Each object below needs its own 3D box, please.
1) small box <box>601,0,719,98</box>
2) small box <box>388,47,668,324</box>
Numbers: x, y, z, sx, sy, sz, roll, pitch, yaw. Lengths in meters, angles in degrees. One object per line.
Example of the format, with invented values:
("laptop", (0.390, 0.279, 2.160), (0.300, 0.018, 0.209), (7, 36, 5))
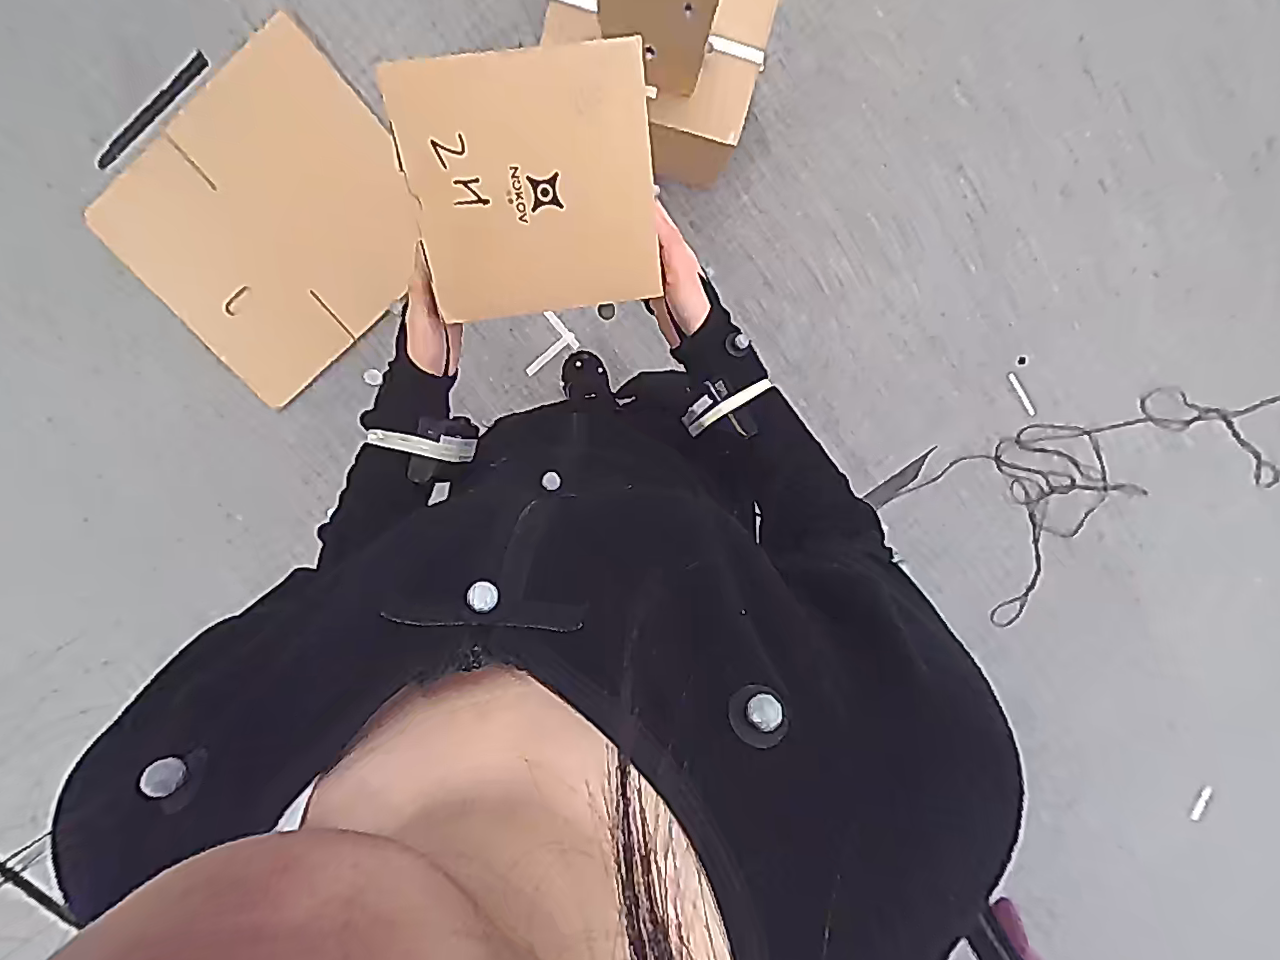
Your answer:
("small box", (0.035, -0.789, 0.919), (0.179, 0.176, 0.168), (11, 103, -6))
("small box", (-0.079, -0.237, 0.456), (0.179, 0.176, 0.168), (-8, 115, -3))
